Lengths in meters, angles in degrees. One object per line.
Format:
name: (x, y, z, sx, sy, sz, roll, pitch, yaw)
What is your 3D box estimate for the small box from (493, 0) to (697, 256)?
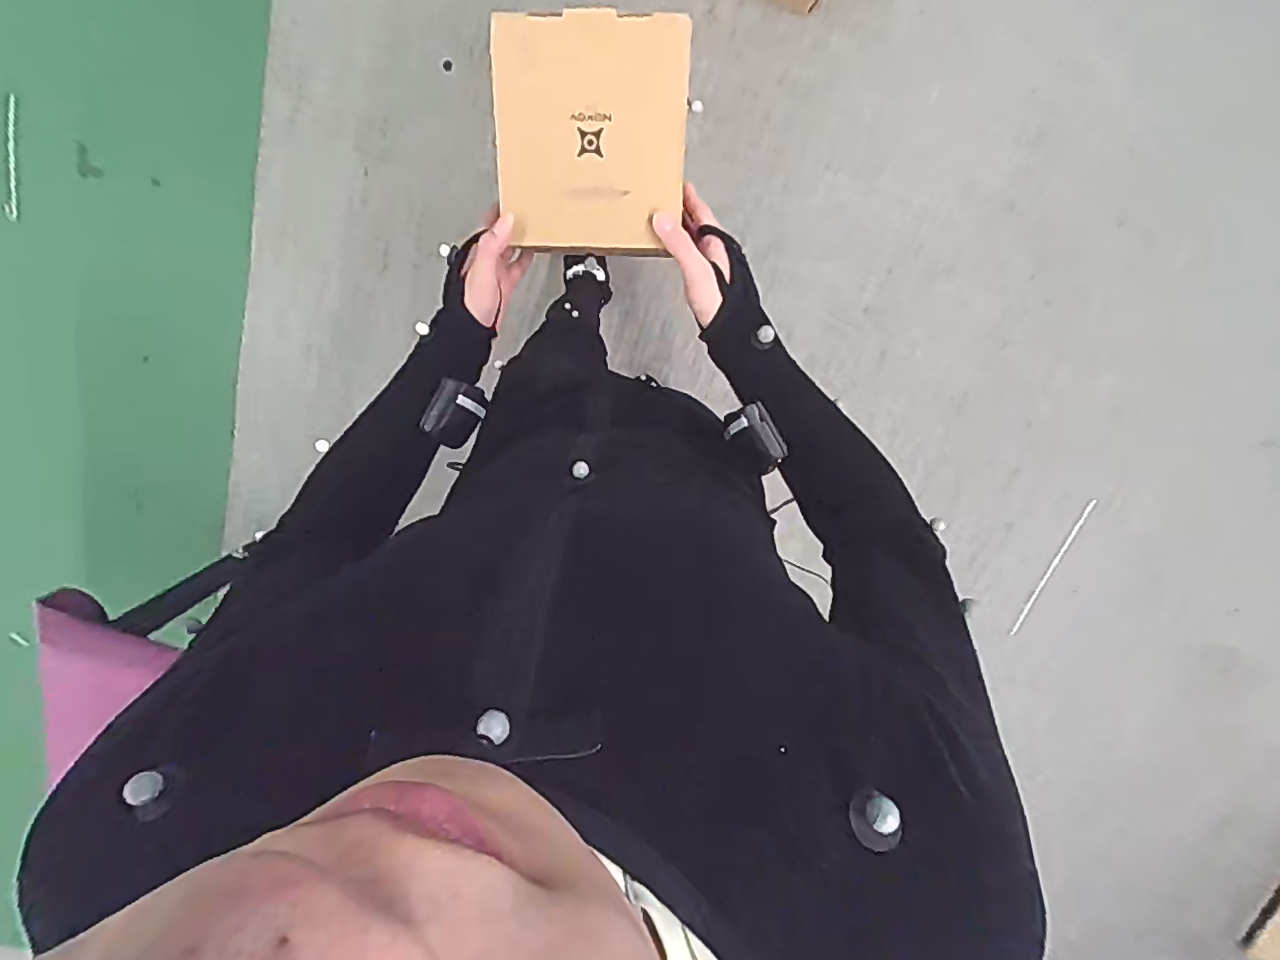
small box: (-0.037, -0.322, 0.529, 0.168, 0.176, 0.179, 3, 110, 2)

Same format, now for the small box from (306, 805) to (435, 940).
small box: (-0.519, 0.784, 1.052, 0.168, 0.176, 0.179, 15, 107, -2)
